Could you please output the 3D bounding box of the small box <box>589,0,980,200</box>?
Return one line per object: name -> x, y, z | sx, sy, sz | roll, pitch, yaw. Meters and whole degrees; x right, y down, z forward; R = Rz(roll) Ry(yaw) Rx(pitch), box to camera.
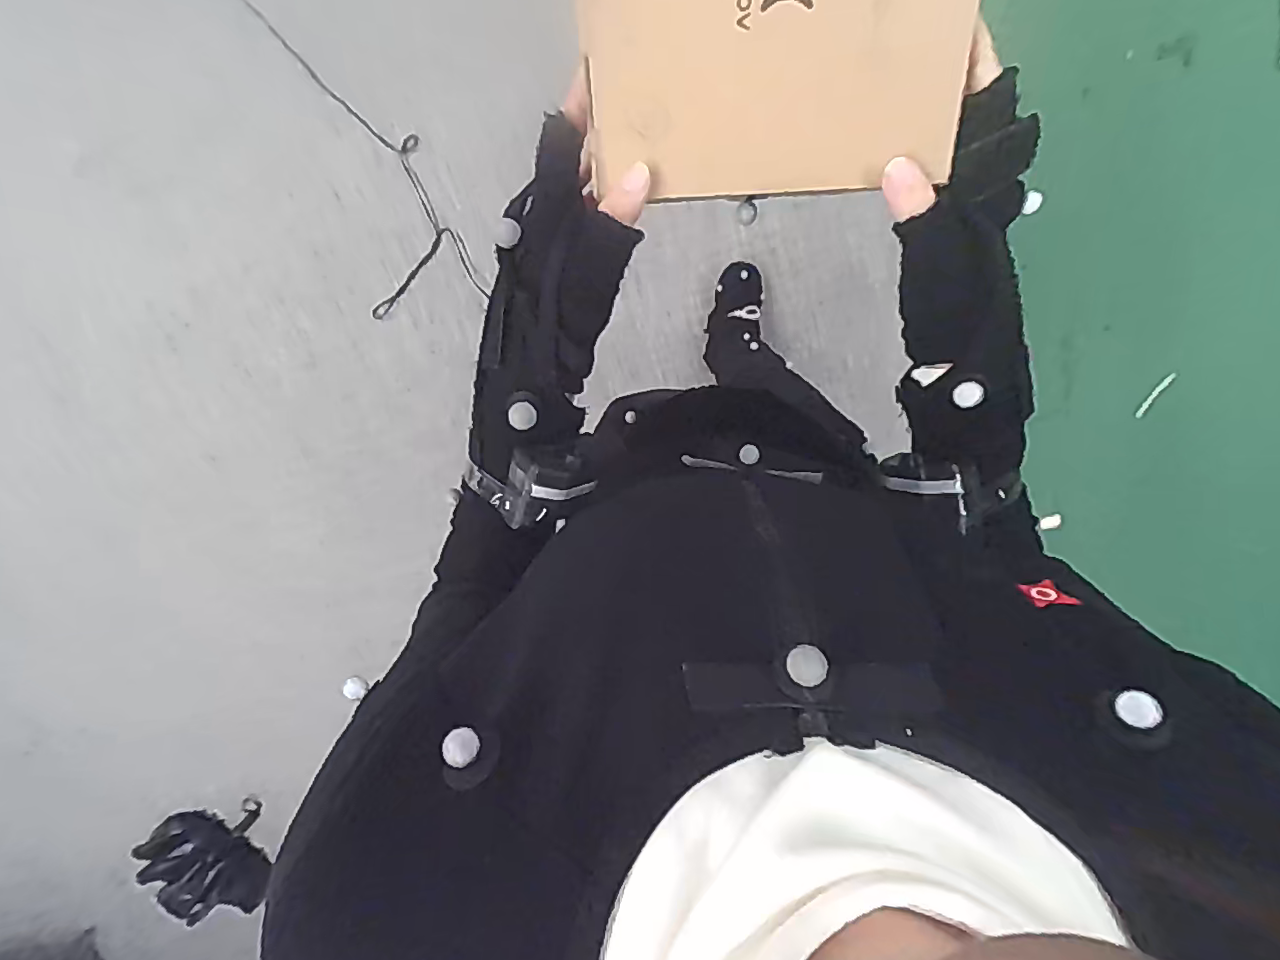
small box -> 0.064, -0.257, 0.307 | 0.179, 0.176, 0.168 | -4, 118, 2
